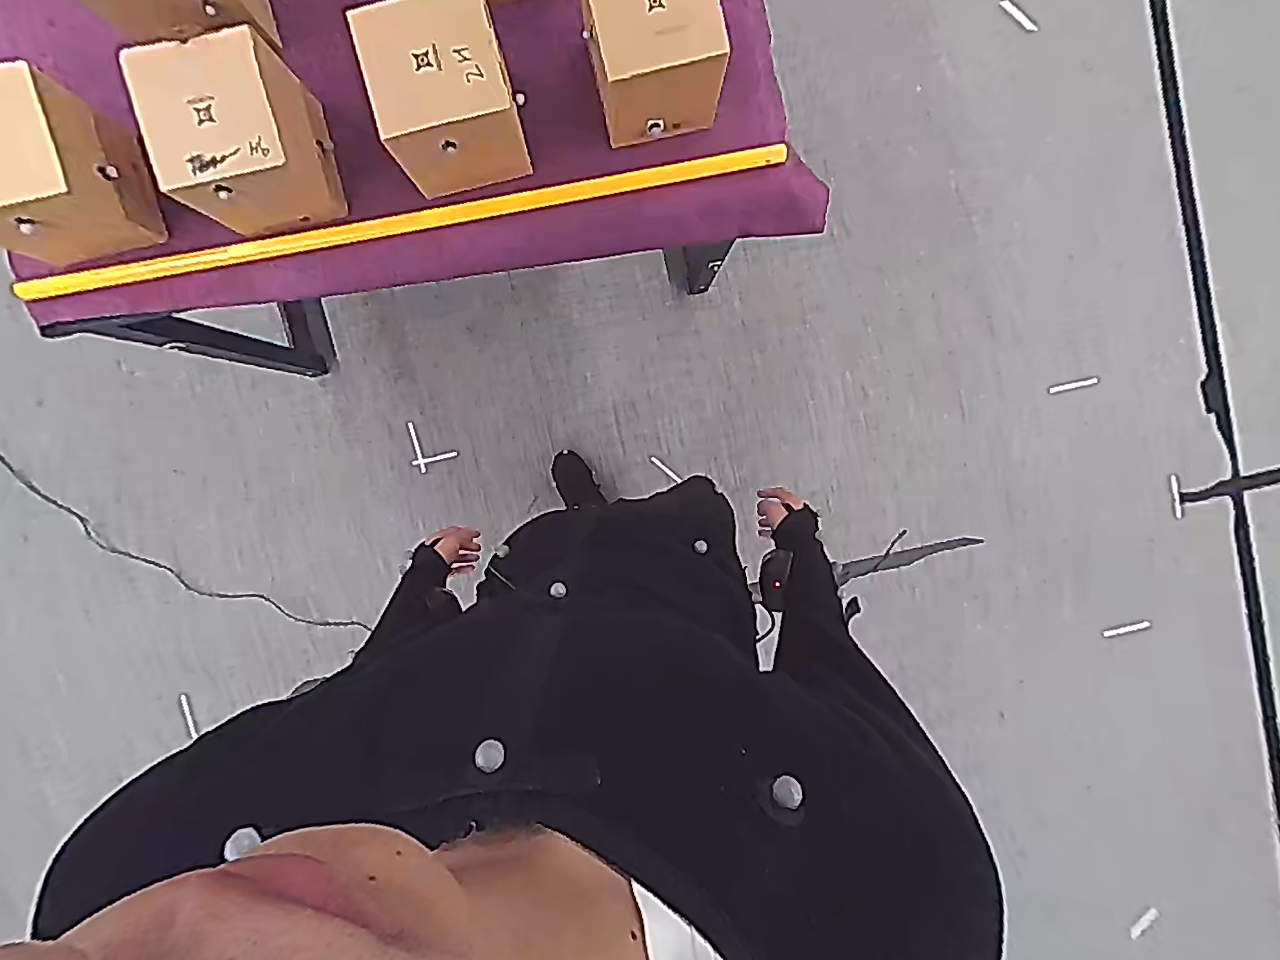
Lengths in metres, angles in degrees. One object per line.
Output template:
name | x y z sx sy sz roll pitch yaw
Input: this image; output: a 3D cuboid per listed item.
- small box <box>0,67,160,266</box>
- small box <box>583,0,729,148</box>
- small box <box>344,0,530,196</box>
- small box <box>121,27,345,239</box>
small box | -0.826 -0.420 0.752 0.179 0.176 0.168 -14 94 -1
small box | 0.016 -0.616 0.764 0.168 0.176 0.179 -14 93 1
small box | -0.271 -0.532 0.762 0.179 0.176 0.168 -15 93 -1
small box | -0.551 -0.470 0.758 0.168 0.176 0.179 -13 94 0
